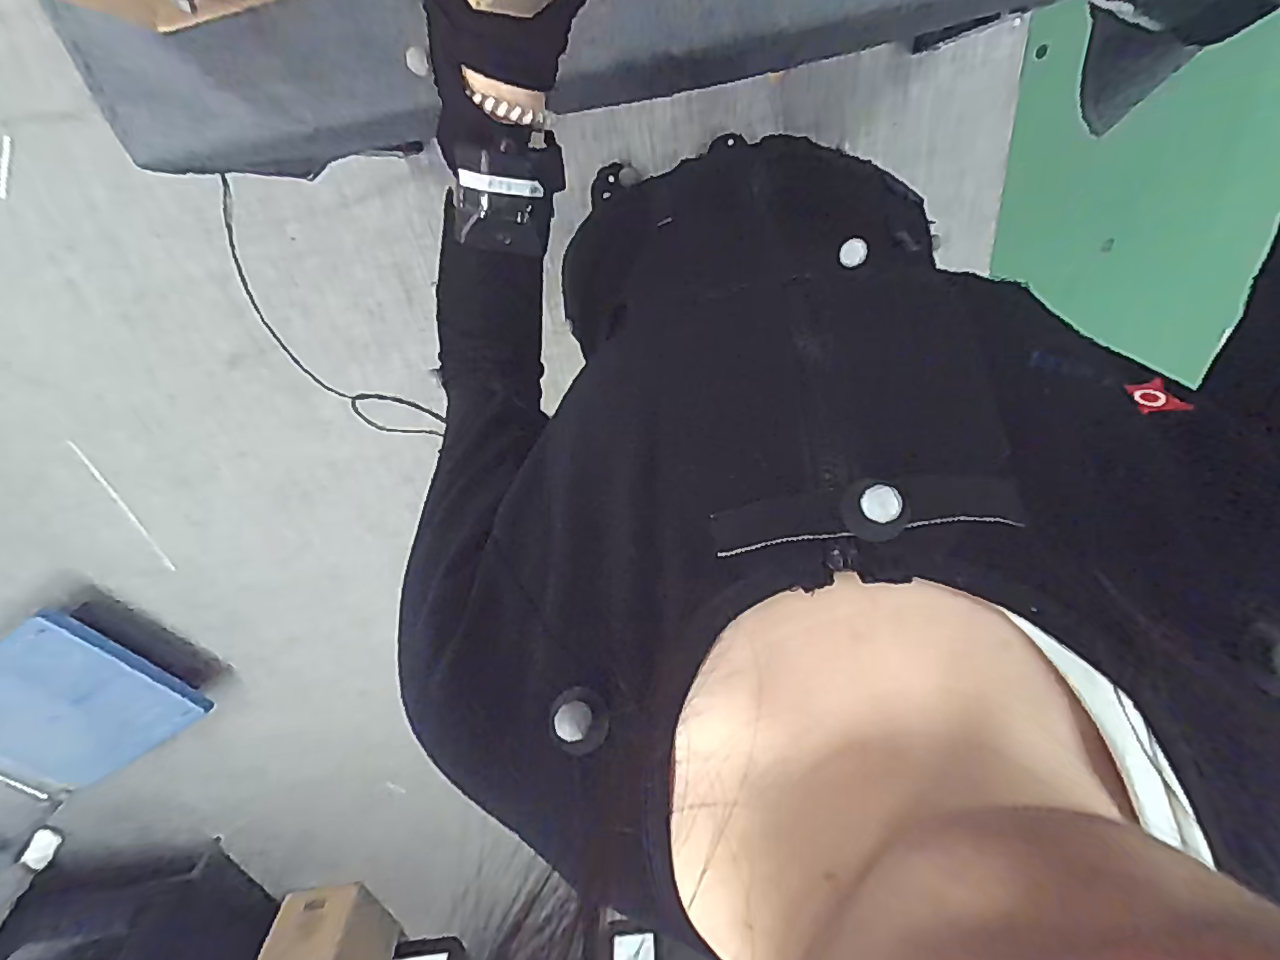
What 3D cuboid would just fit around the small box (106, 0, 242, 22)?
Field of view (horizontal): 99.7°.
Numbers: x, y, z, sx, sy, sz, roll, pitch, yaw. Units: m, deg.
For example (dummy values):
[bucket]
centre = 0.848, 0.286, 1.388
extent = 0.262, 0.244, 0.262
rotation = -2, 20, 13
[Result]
[small box]
centre = -0.401, -0.484, 0.398
extent = 0.168, 0.176, 0.179
rotation = -12, 120, 5
